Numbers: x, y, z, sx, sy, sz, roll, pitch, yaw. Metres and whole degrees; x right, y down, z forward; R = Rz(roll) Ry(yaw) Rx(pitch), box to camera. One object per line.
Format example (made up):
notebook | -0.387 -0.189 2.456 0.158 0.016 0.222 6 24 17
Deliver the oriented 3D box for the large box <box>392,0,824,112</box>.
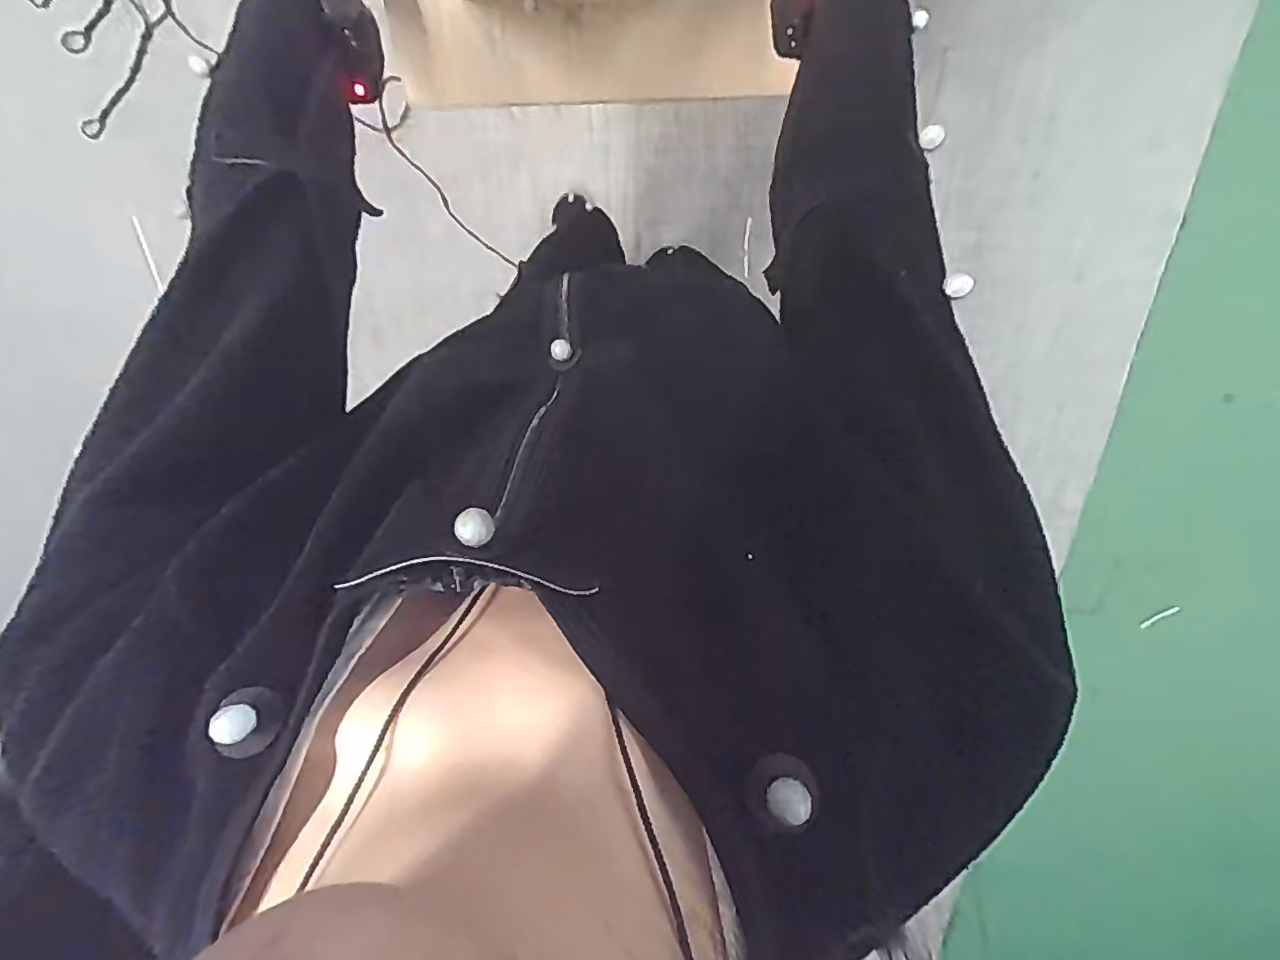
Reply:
large box | -0.040 -0.589 0.564 0.408 0.320 0.320 -4 128 -2
